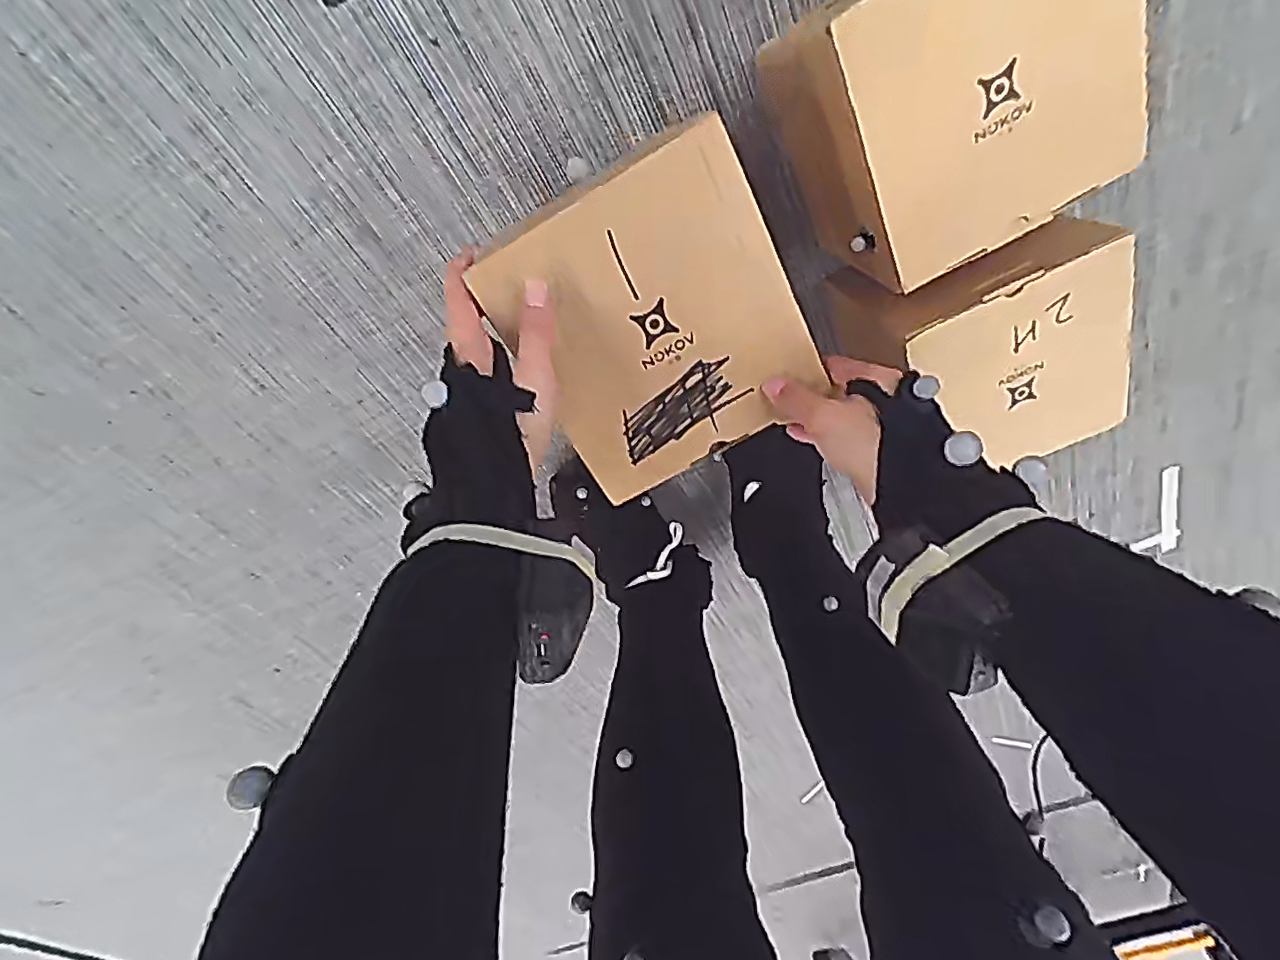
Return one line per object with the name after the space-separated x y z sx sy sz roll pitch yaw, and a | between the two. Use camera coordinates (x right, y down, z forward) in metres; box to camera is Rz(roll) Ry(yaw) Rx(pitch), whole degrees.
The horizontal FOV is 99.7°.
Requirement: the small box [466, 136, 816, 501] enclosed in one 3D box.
0.001 -0.122 0.402 0.168 0.176 0.179 -28 120 7 | small box
